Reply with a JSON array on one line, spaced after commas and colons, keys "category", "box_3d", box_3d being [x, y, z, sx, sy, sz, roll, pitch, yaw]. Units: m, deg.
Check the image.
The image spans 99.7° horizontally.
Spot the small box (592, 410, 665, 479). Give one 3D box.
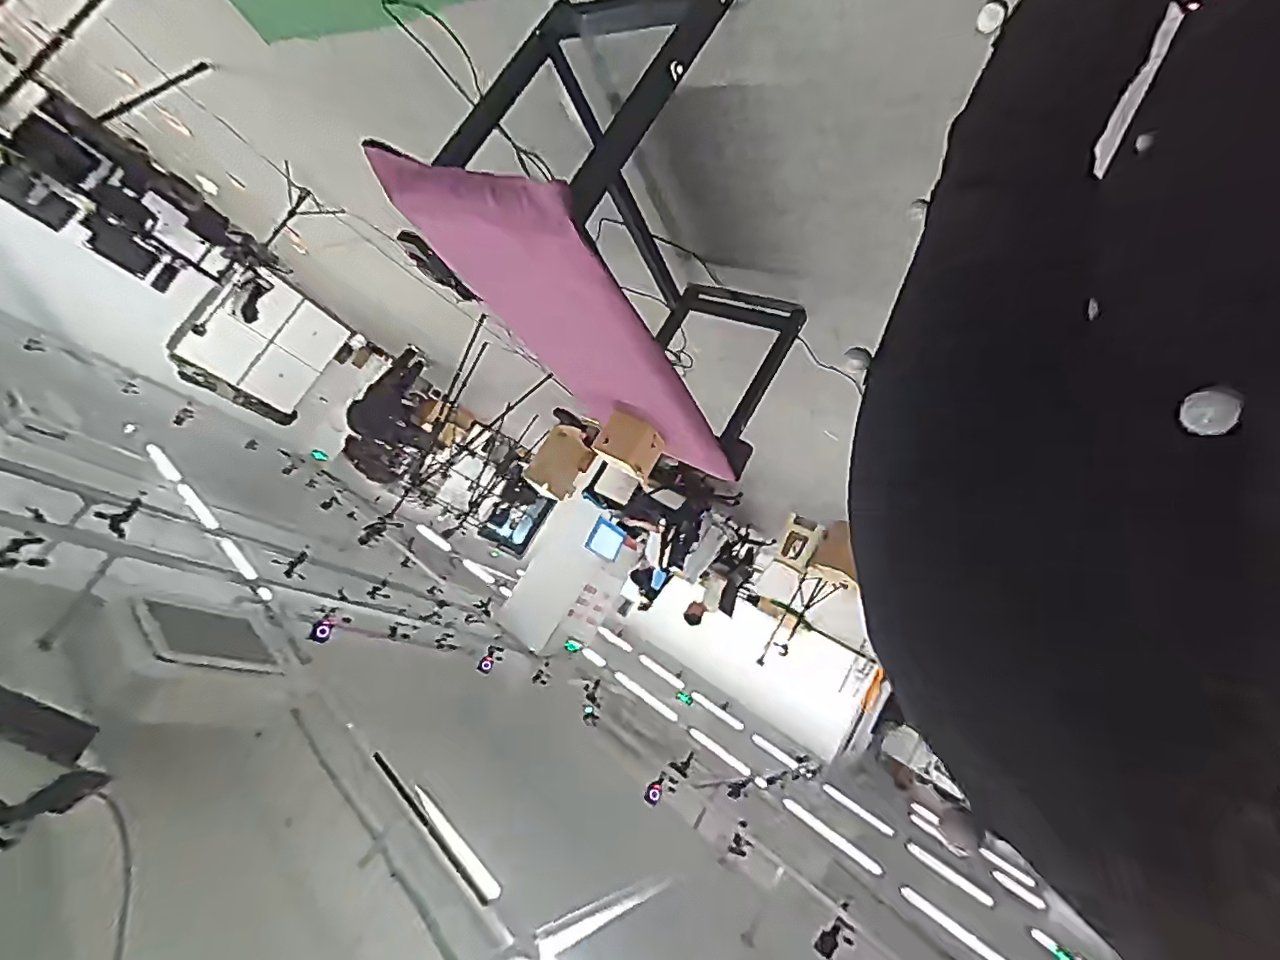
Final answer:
[{"category": "small box", "box_3d": [-0.039, -0.135, 1.980, 0.179, 0.176, 0.168, 25, 169, 32]}]
